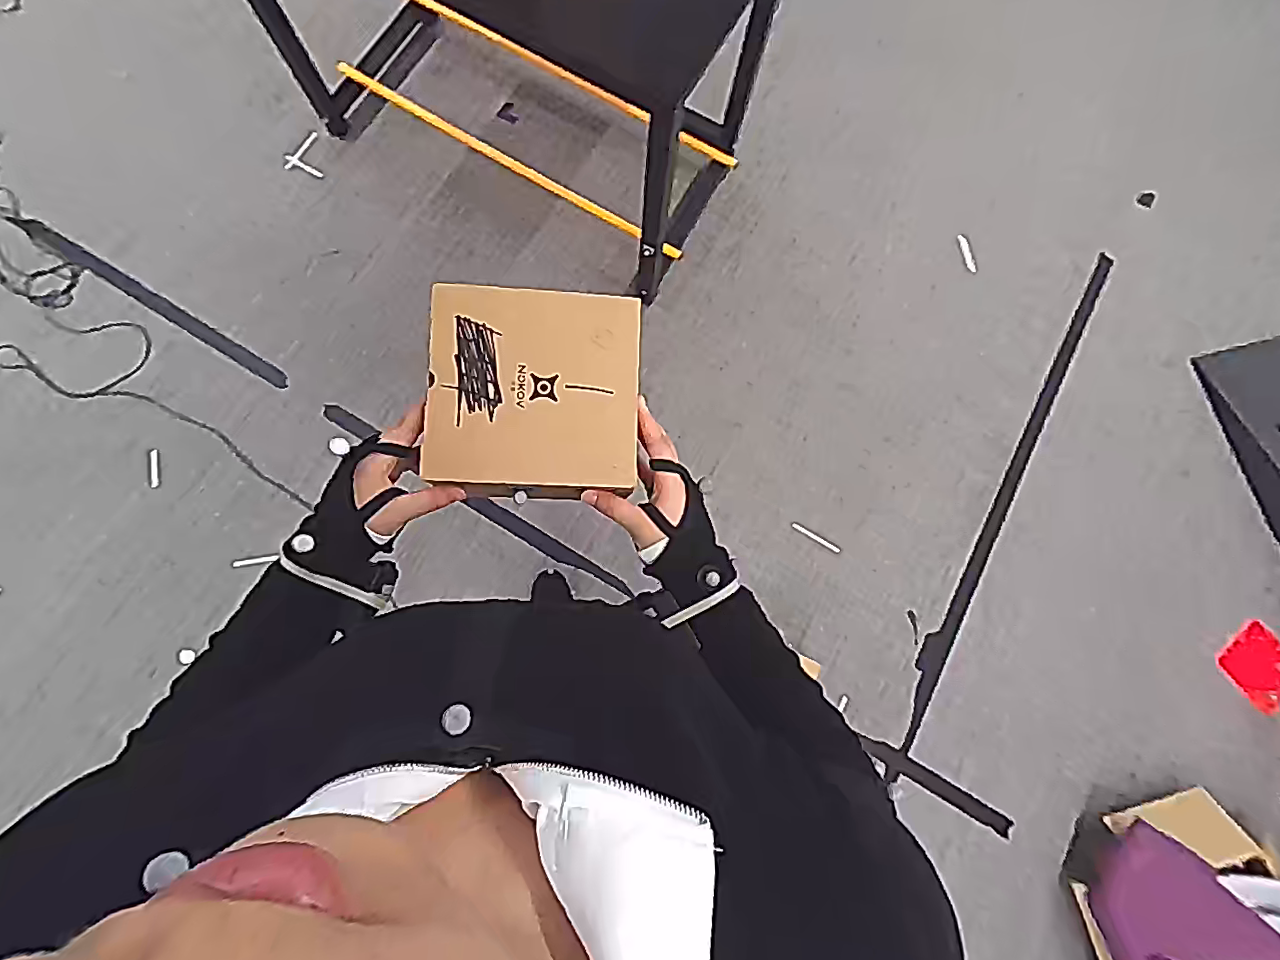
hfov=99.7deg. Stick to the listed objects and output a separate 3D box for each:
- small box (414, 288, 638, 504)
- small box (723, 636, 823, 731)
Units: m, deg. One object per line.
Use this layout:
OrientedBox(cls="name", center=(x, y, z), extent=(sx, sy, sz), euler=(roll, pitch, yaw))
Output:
OrientedBox(cls="small box", center=(-0.097, -0.065, 0.520), extent=(0.179, 0.176, 0.168), euler=(2, 84, -5))
OrientedBox(cls="small box", center=(0.336, 0.514, 1.395), extent=(0.179, 0.176, 0.168), euler=(25, 78, 4))
